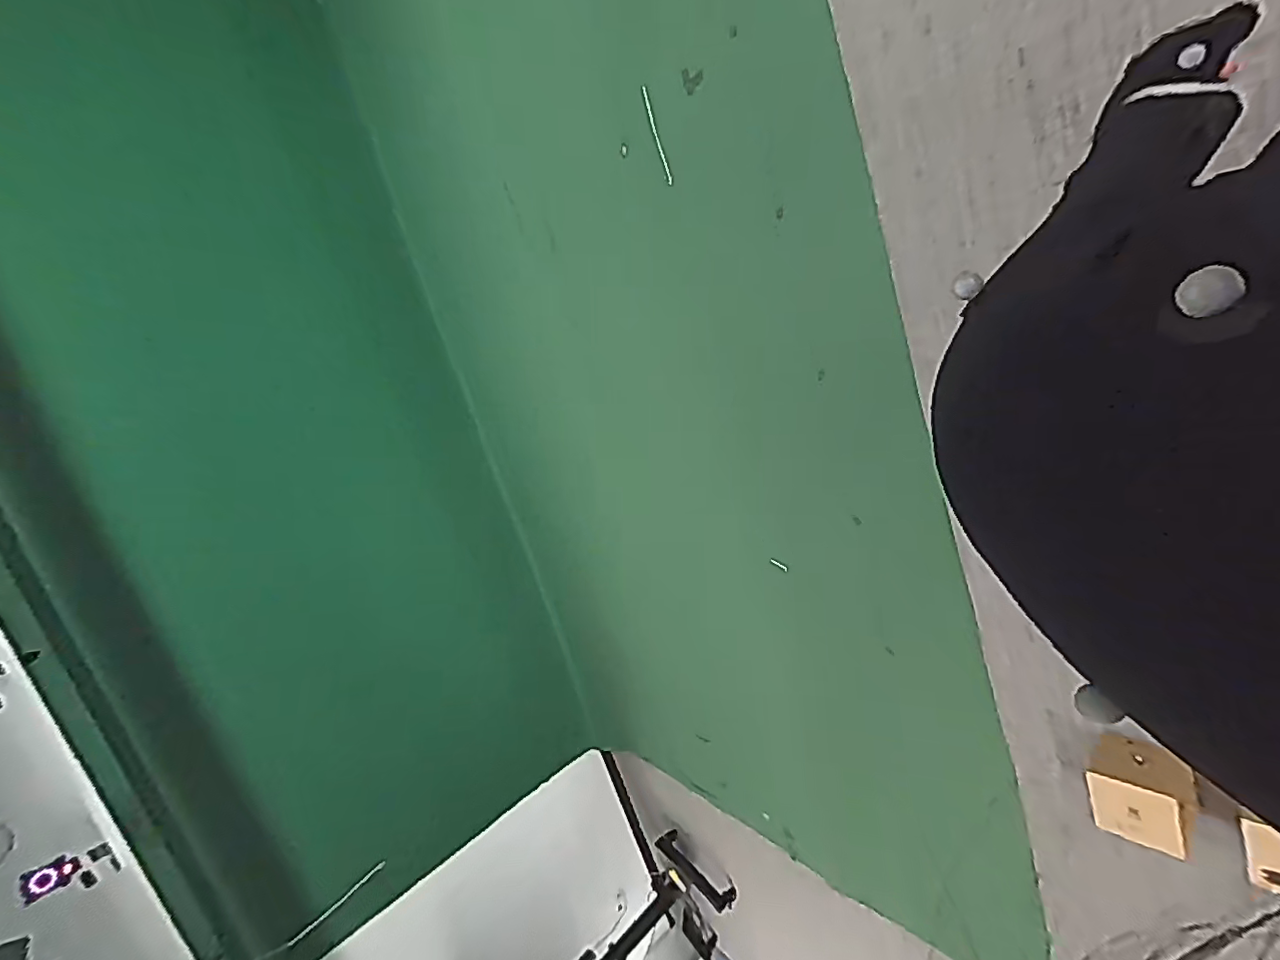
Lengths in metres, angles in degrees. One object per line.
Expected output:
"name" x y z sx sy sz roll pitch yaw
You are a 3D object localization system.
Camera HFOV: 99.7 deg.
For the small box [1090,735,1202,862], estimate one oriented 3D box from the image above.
"small box" 1.245 0.768 1.329 0.168 0.176 0.179 -3 108 55
